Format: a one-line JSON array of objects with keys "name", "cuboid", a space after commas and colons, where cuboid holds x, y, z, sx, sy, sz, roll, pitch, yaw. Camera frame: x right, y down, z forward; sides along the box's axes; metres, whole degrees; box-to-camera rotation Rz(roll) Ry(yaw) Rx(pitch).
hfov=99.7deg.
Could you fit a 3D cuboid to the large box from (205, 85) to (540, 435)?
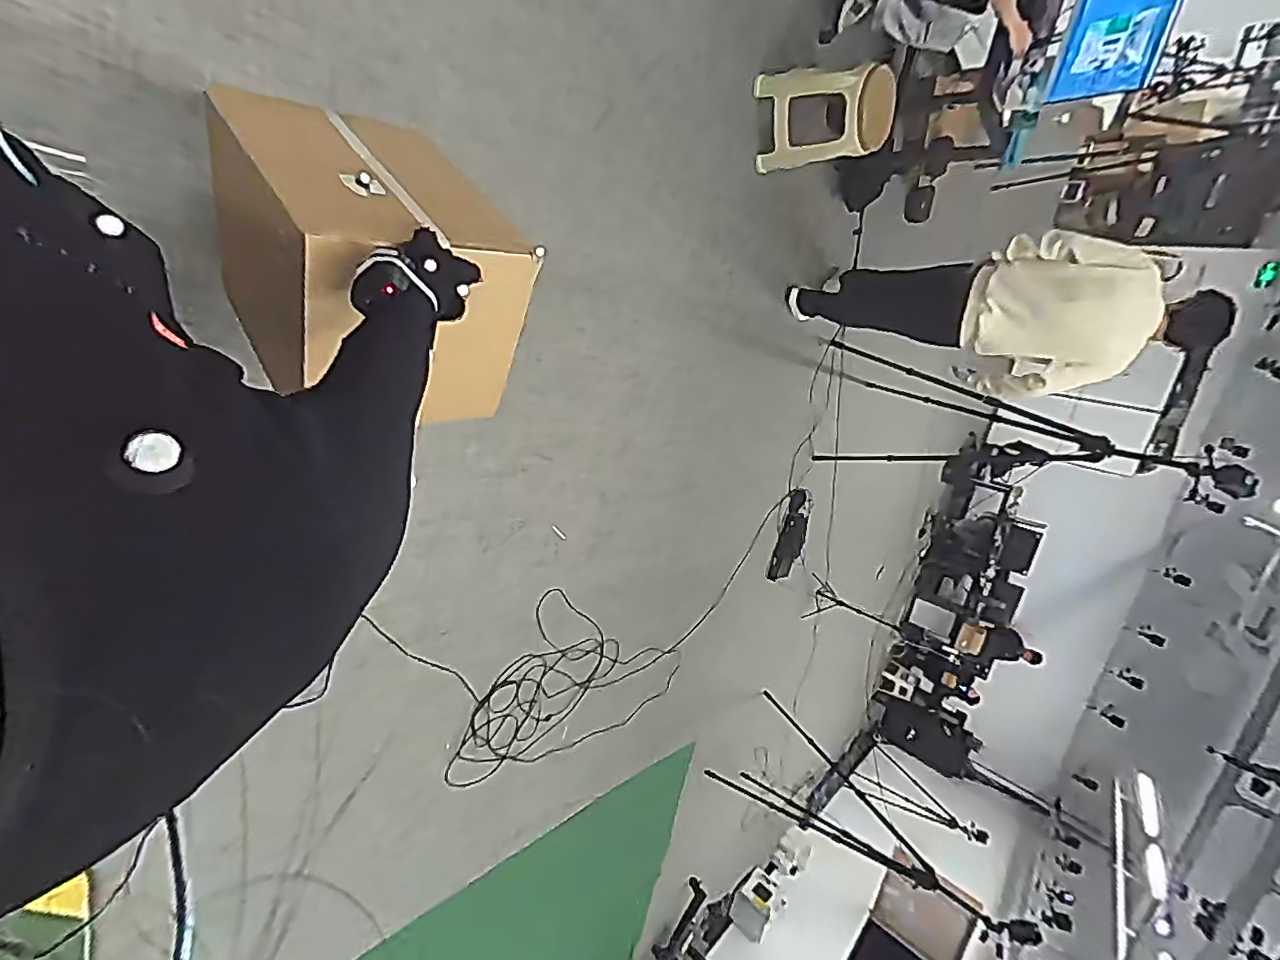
[{"name": "large box", "cuboid": [-0.431, -0.333, 0.860, 0.320, 0.408, 0.320, -19, 149, -43]}]
